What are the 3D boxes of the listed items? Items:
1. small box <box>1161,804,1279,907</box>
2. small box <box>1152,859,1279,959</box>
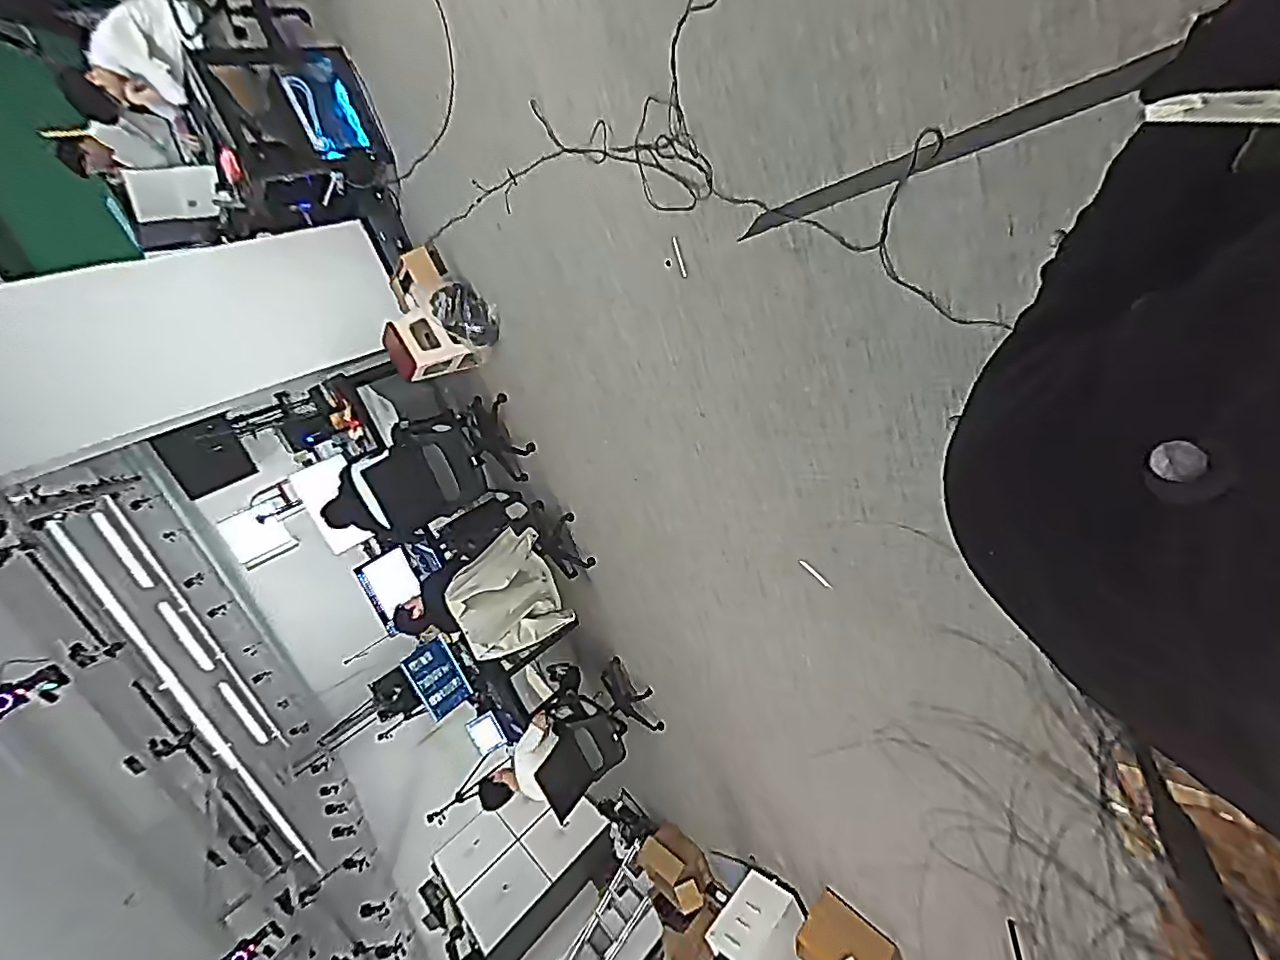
[{"bbox_3d":[1.240,0.836,1.142,0.179,0.176,0.168,3,118,53],"label":"small box"},{"bbox_3d":[1.125,0.901,1.049,0.168,0.176,0.179,3,118,51],"label":"small box"}]
